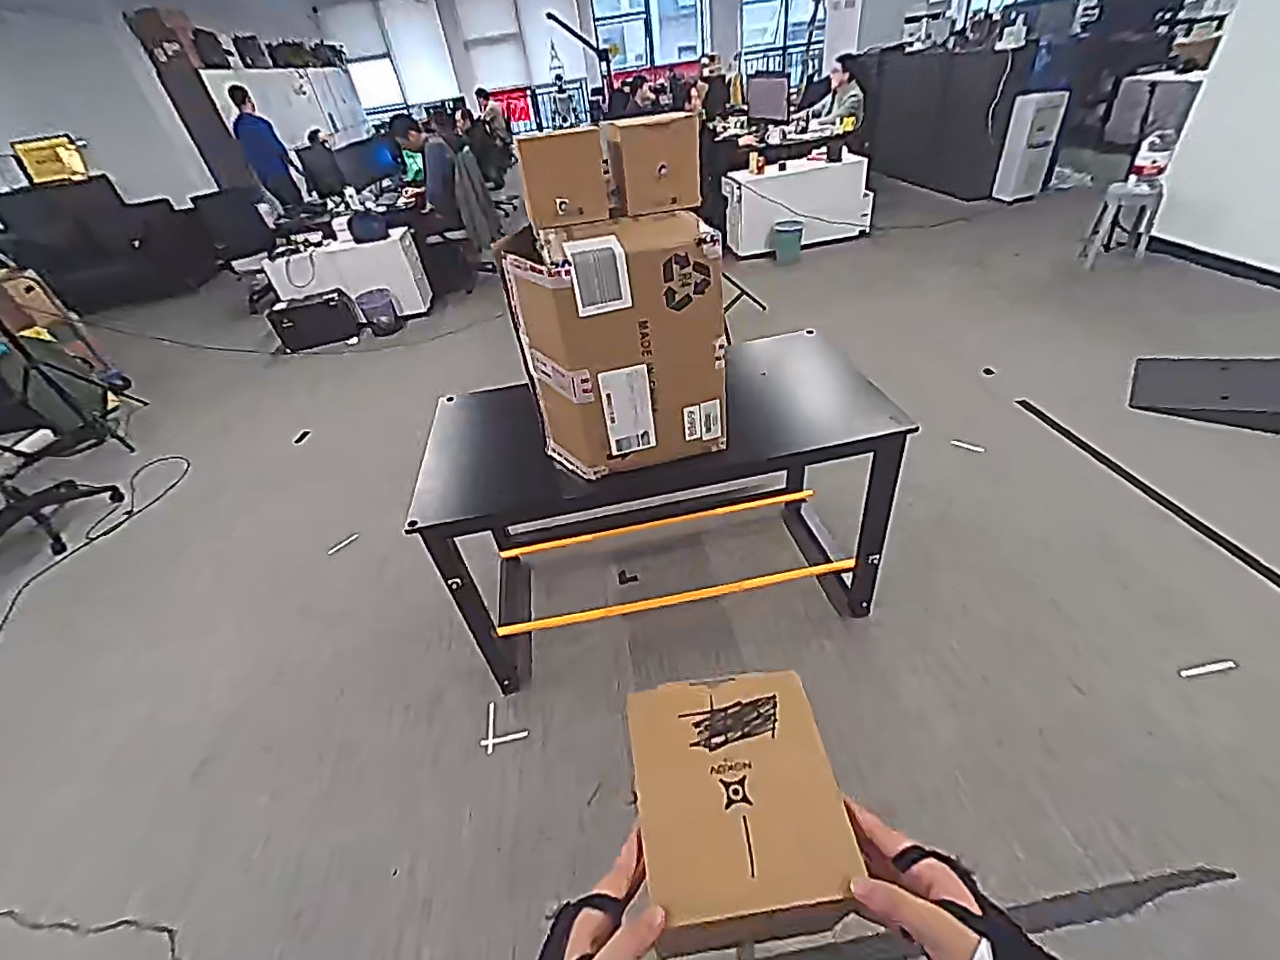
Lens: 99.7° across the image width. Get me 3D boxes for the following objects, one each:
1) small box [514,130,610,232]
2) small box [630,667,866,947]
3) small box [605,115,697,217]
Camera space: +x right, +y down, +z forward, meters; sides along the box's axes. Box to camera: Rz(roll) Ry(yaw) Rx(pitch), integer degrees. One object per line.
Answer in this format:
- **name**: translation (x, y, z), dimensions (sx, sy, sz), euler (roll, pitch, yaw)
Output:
- **small box**: translation (-0.170, -0.648, 1.172), dimensions (0.168, 0.176, 0.179), euler (-14, 36, -7)
- **small box**: translation (0.081, 0.305, 0.510), dimensions (0.168, 0.176, 0.179), euler (-7, 43, -3)
- **small box**: translation (0.026, -0.688, 1.188), dimensions (0.168, 0.176, 0.179), euler (-12, 38, -8)
